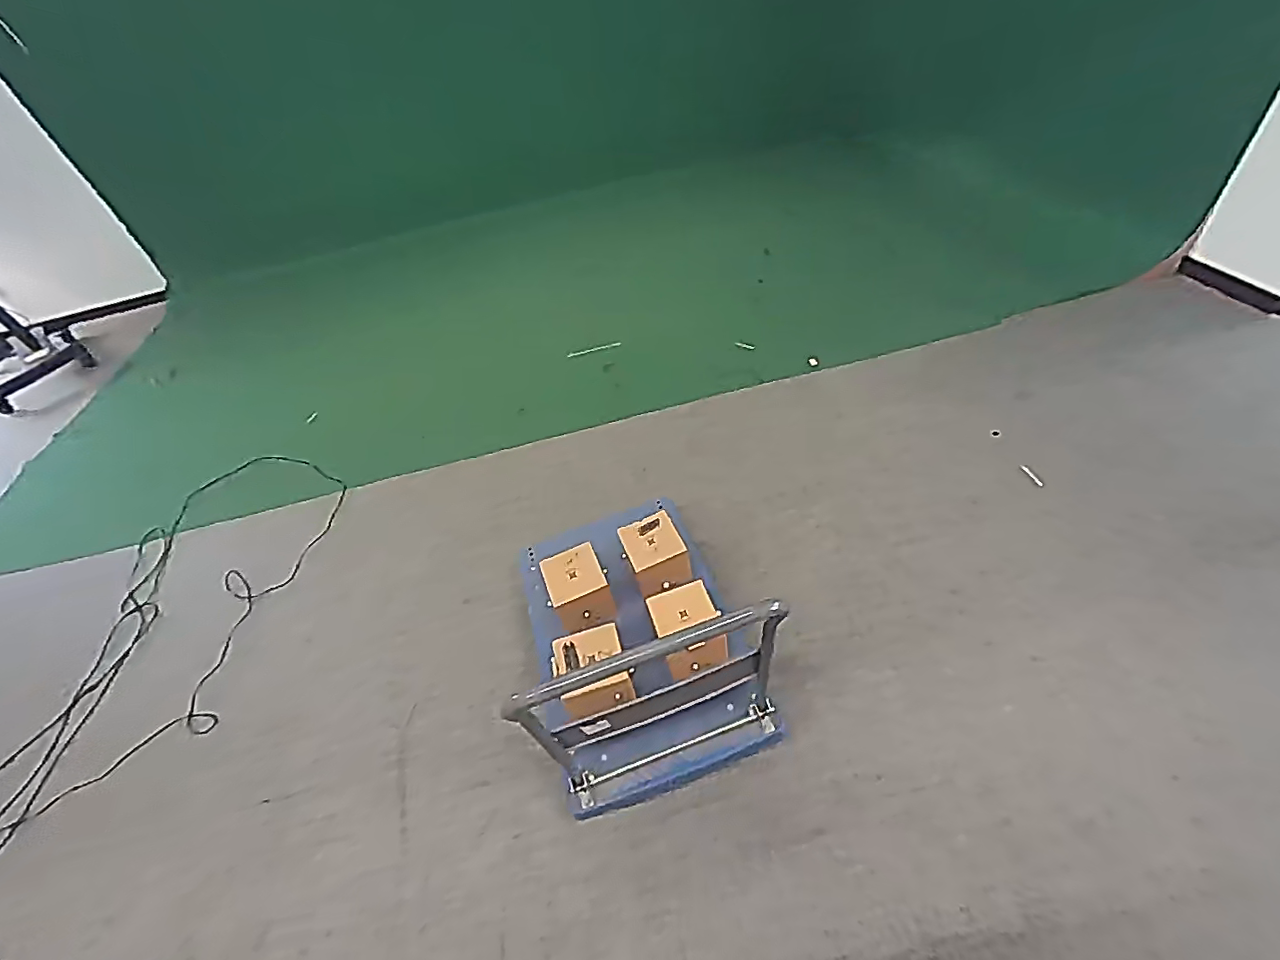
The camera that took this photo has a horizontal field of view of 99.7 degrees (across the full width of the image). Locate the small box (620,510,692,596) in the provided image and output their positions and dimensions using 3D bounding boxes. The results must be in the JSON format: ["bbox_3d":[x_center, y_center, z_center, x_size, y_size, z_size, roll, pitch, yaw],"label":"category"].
[{"bbox_3d":[0.051,0.233,1.692,0.168,0.176,0.179,-22,48,-7],"label":"small box"}]

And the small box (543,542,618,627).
[{"bbox_3d":[-0.180,0.327,1.655,0.168,0.176,0.179,-21,47,-9],"label":"small box"}]

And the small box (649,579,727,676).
[{"bbox_3d":[0.134,0.413,1.508,0.168,0.176,0.179,-19,47,-5],"label":"small box"}]
